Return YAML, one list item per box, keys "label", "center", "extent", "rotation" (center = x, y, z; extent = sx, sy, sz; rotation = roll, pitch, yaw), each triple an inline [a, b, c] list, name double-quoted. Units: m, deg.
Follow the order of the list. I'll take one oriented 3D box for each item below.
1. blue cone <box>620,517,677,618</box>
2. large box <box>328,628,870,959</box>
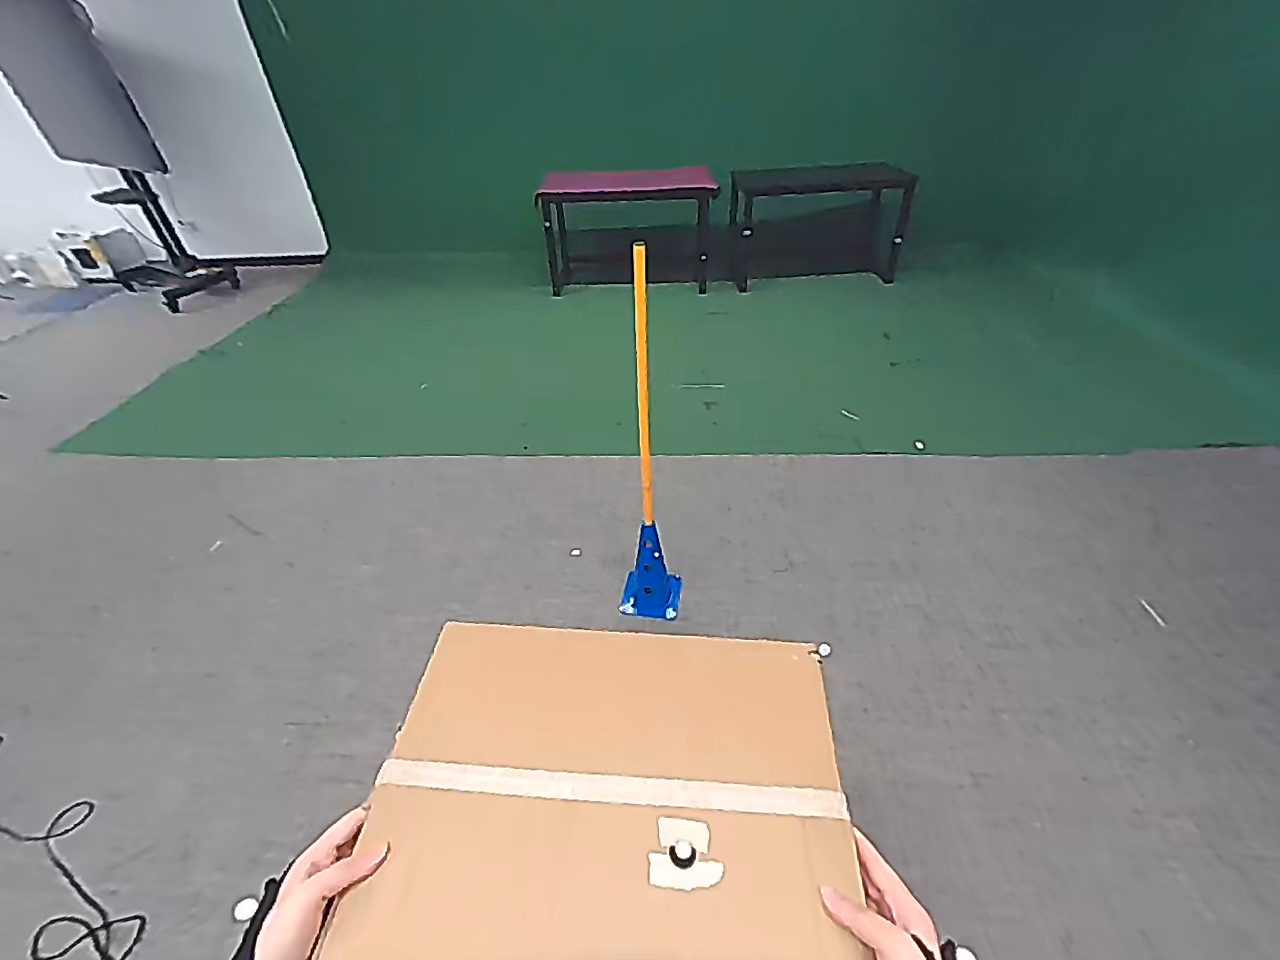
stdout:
- label: "blue cone"
  center: [0.026, 0.281, 1.833]
  extent: [0.193, 0.380, 0.192]
  rotation: [6, 39, 10]
- label: "large box"
  center: [-0.024, 0.385, 0.579]
  extent: [0.408, 0.320, 0.320]
  rotation: [3, 42, 3]
